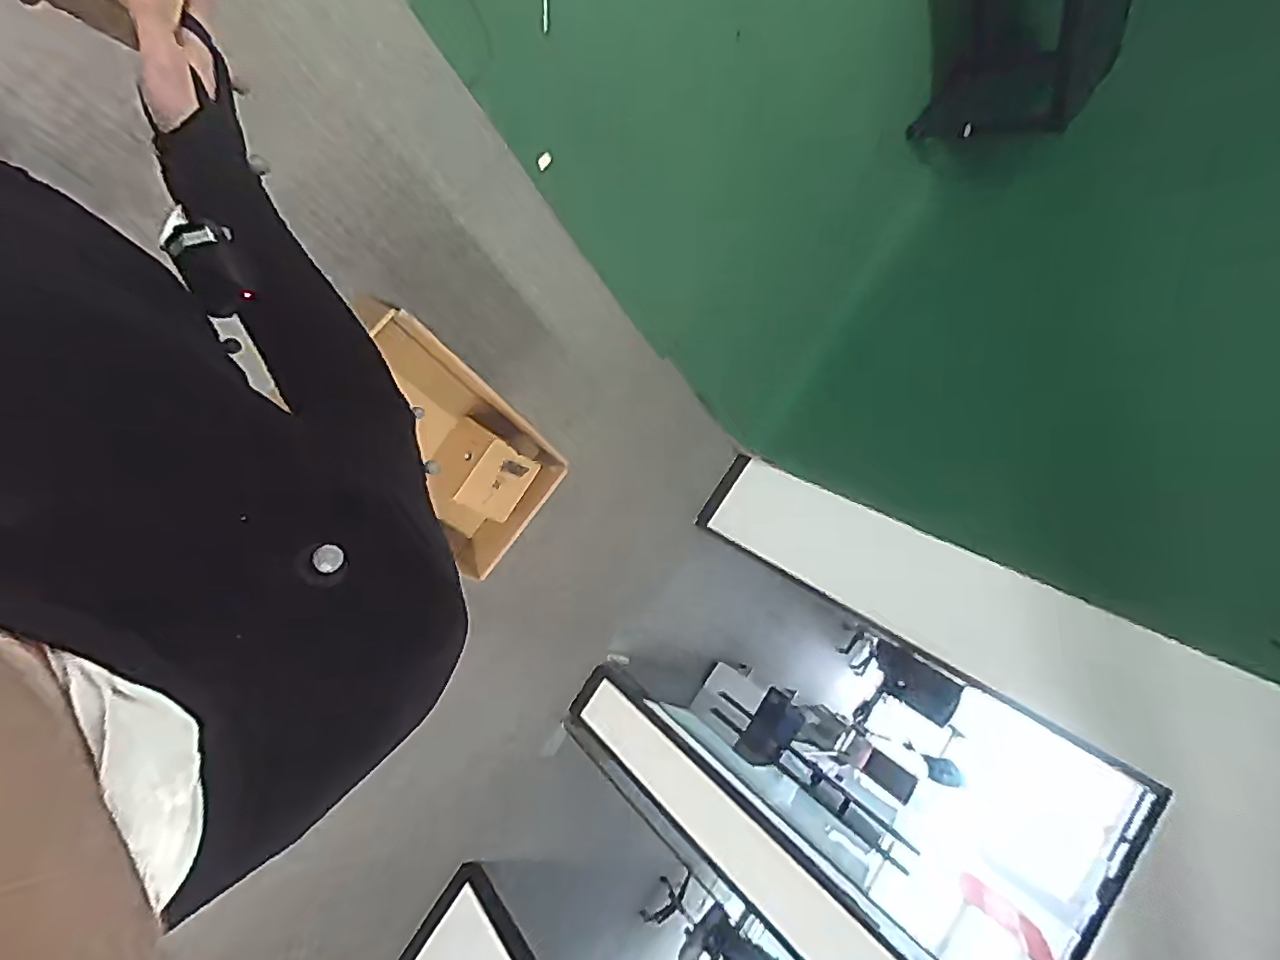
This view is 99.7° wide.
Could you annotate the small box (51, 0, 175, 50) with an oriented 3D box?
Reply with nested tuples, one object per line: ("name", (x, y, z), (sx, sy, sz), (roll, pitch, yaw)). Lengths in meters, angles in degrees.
("small box", (-0.429, -0.453, 0.385), (0.168, 0.176, 0.179), (11, 106, -46))
